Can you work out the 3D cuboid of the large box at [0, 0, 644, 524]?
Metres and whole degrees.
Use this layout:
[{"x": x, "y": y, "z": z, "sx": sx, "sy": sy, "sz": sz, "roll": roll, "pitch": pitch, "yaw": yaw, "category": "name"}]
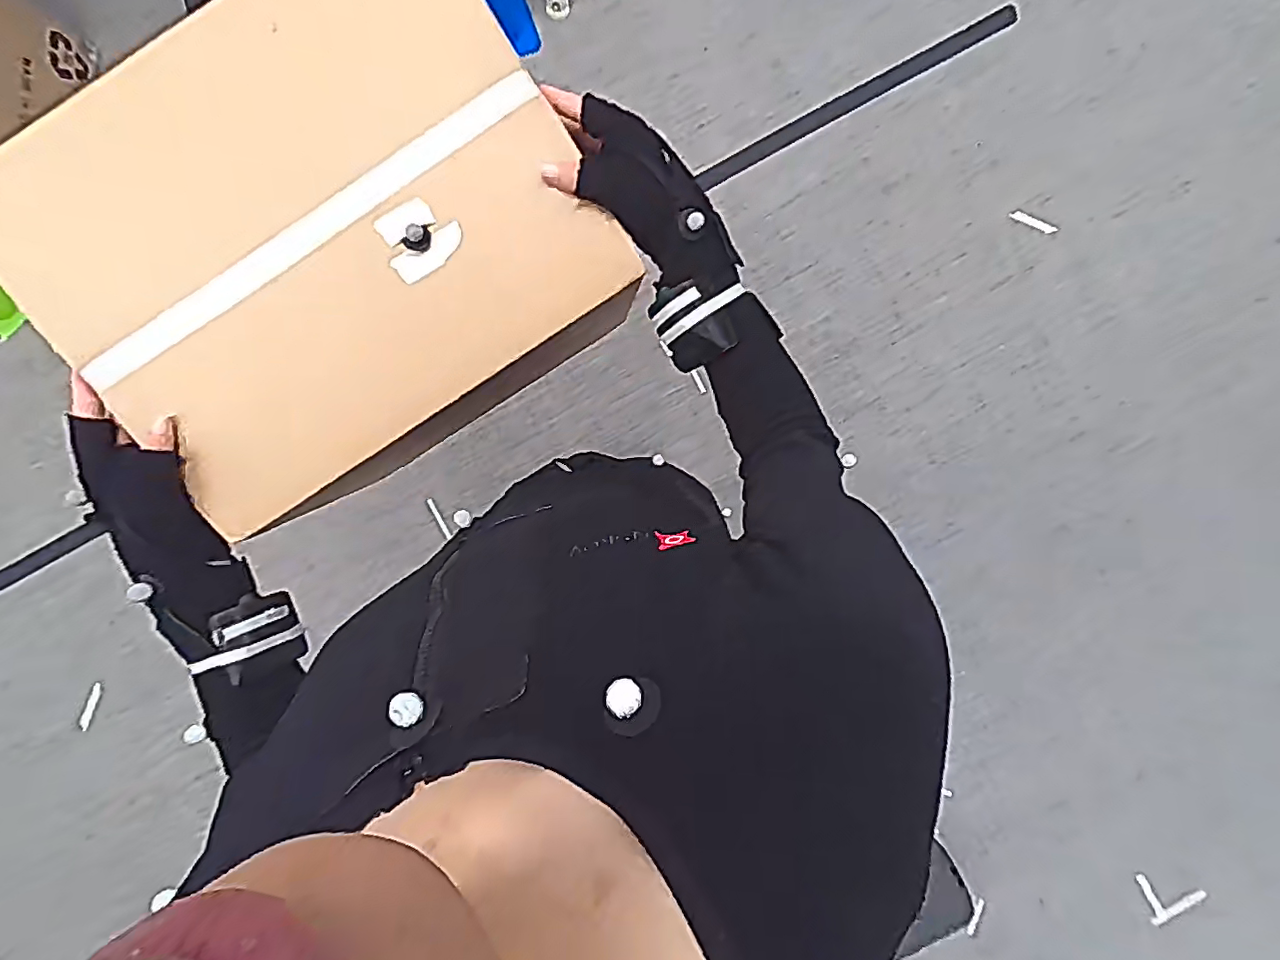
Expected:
[{"x": -0.253, "y": -0.216, "z": 0.560, "sx": 0.408, "sy": 0.320, "sz": 0.320, "roll": -33, "pitch": 101, "yaw": 1, "category": "large box"}]
